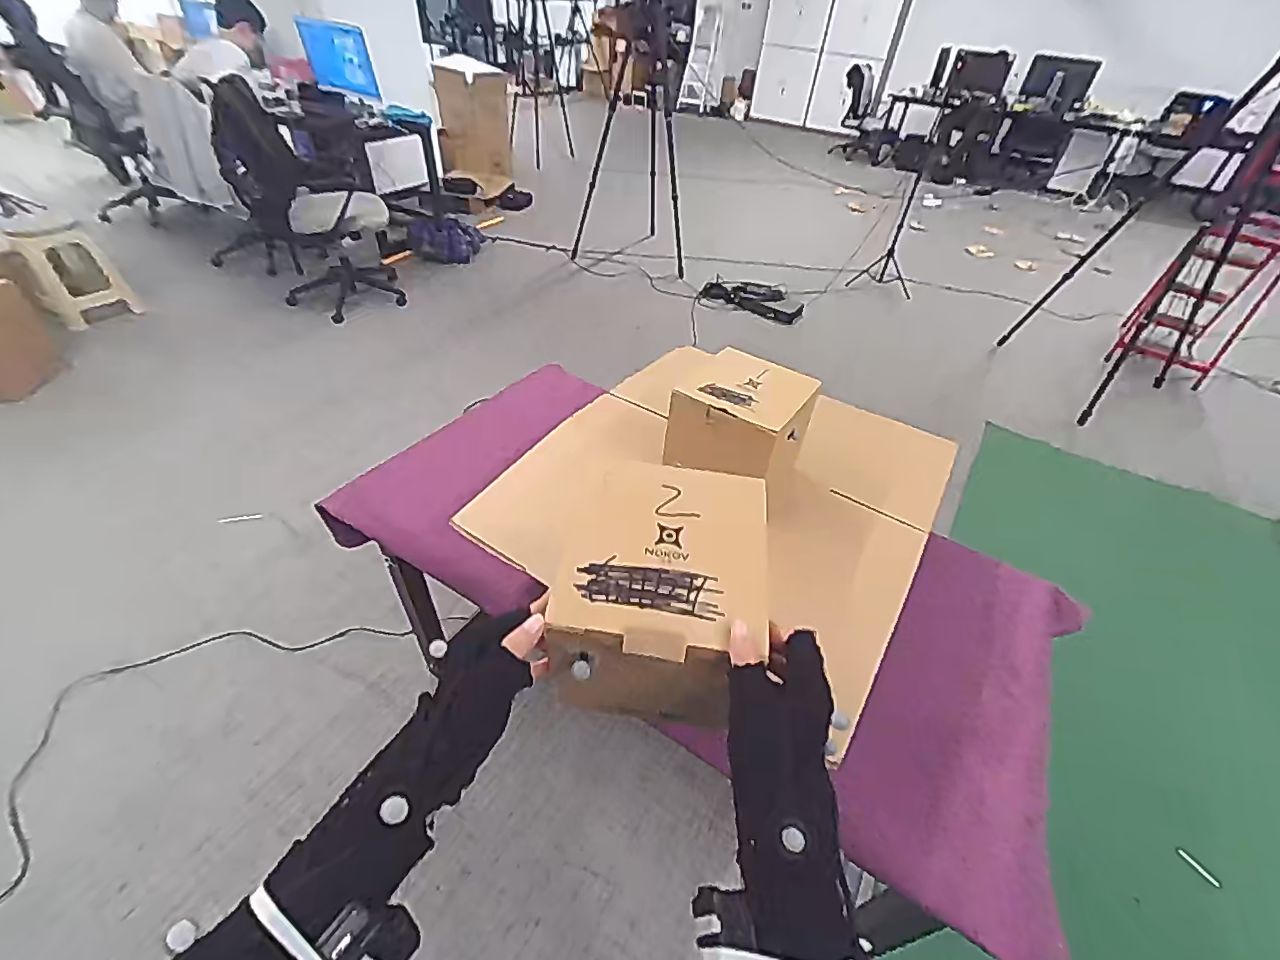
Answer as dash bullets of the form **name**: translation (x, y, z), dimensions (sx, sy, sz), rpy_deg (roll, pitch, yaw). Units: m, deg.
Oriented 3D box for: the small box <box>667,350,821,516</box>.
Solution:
- **small box**: translation (0.155, -0.073, 0.842), dimensions (0.168, 0.176, 0.179), rpy_deg (27, 45, 22)
